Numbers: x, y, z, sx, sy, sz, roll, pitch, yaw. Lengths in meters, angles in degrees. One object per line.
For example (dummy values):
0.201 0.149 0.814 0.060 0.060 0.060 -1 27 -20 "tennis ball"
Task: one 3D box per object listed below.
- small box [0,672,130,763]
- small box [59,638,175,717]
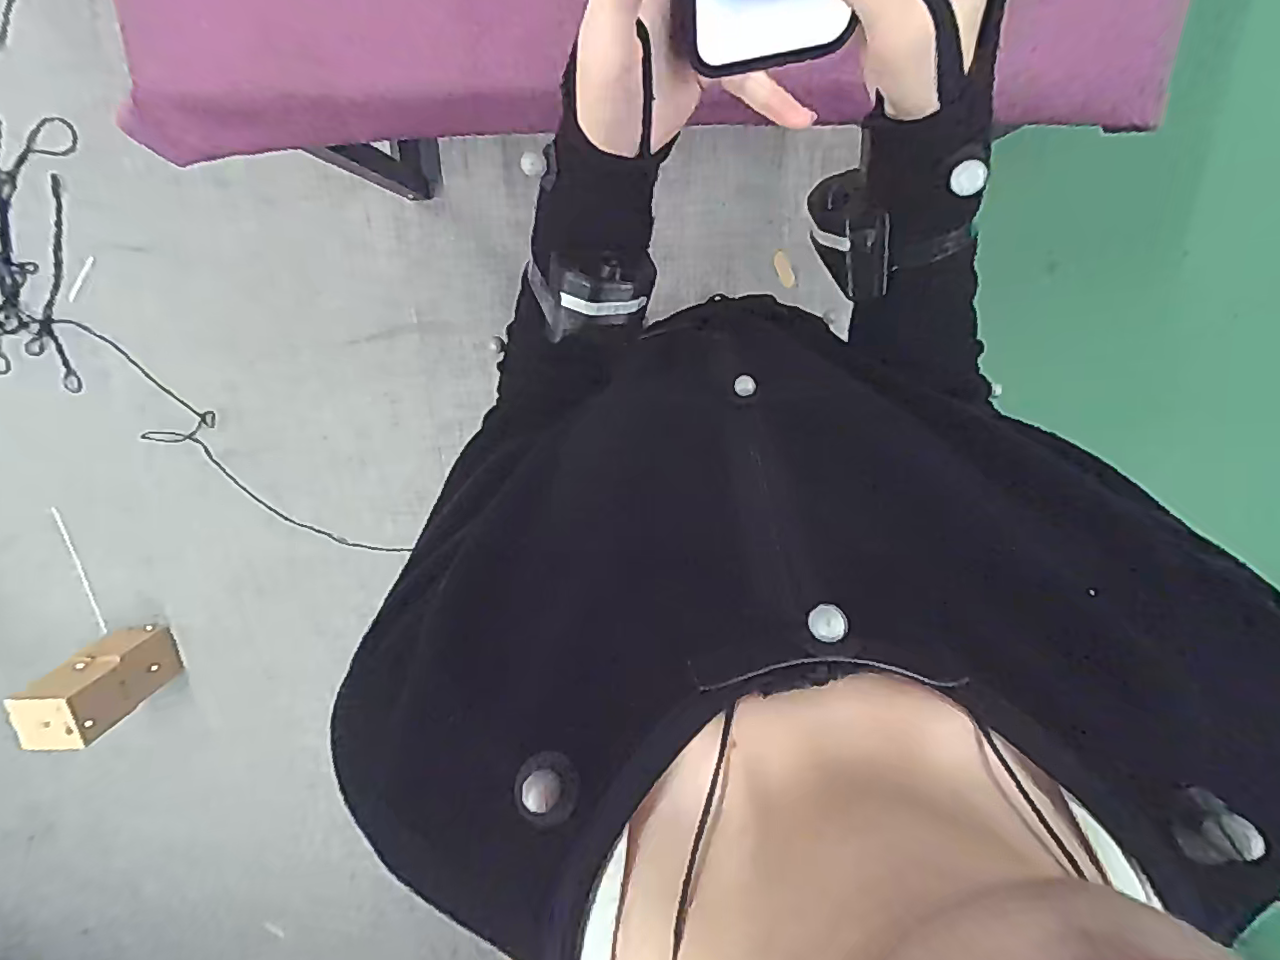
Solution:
-1.585 0.651 1.494 0.179 0.176 0.168 -1 107 3 "small box"
-1.584 0.598 1.649 0.168 0.176 0.179 -3 107 3 "small box"
